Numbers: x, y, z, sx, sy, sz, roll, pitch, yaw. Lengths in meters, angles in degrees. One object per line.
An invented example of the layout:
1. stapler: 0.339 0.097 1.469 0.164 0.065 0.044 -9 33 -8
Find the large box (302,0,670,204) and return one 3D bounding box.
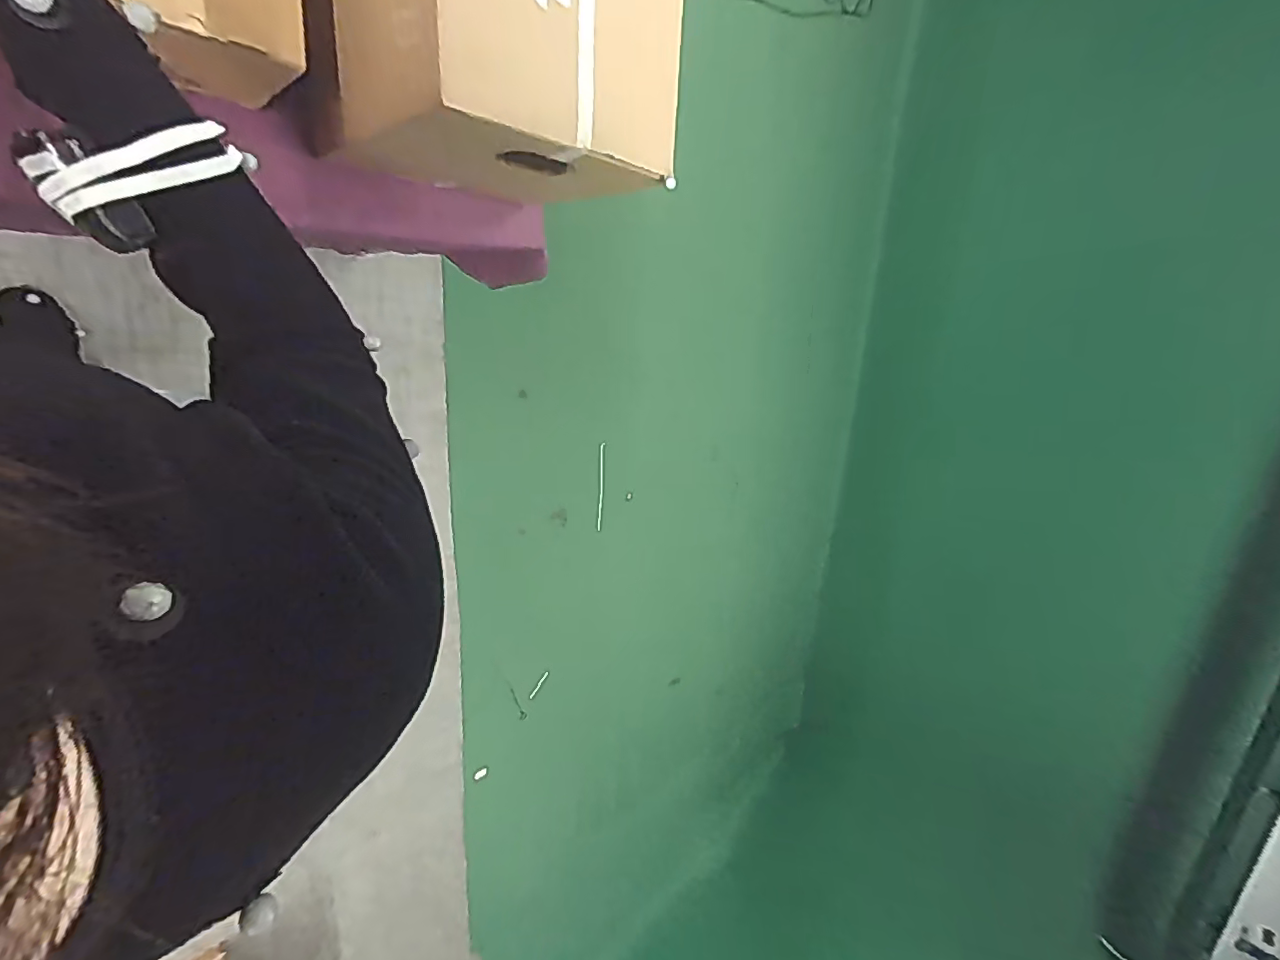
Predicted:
1. large box: -0.176 -0.577 0.626 0.320 0.320 0.408 -15 115 -46
